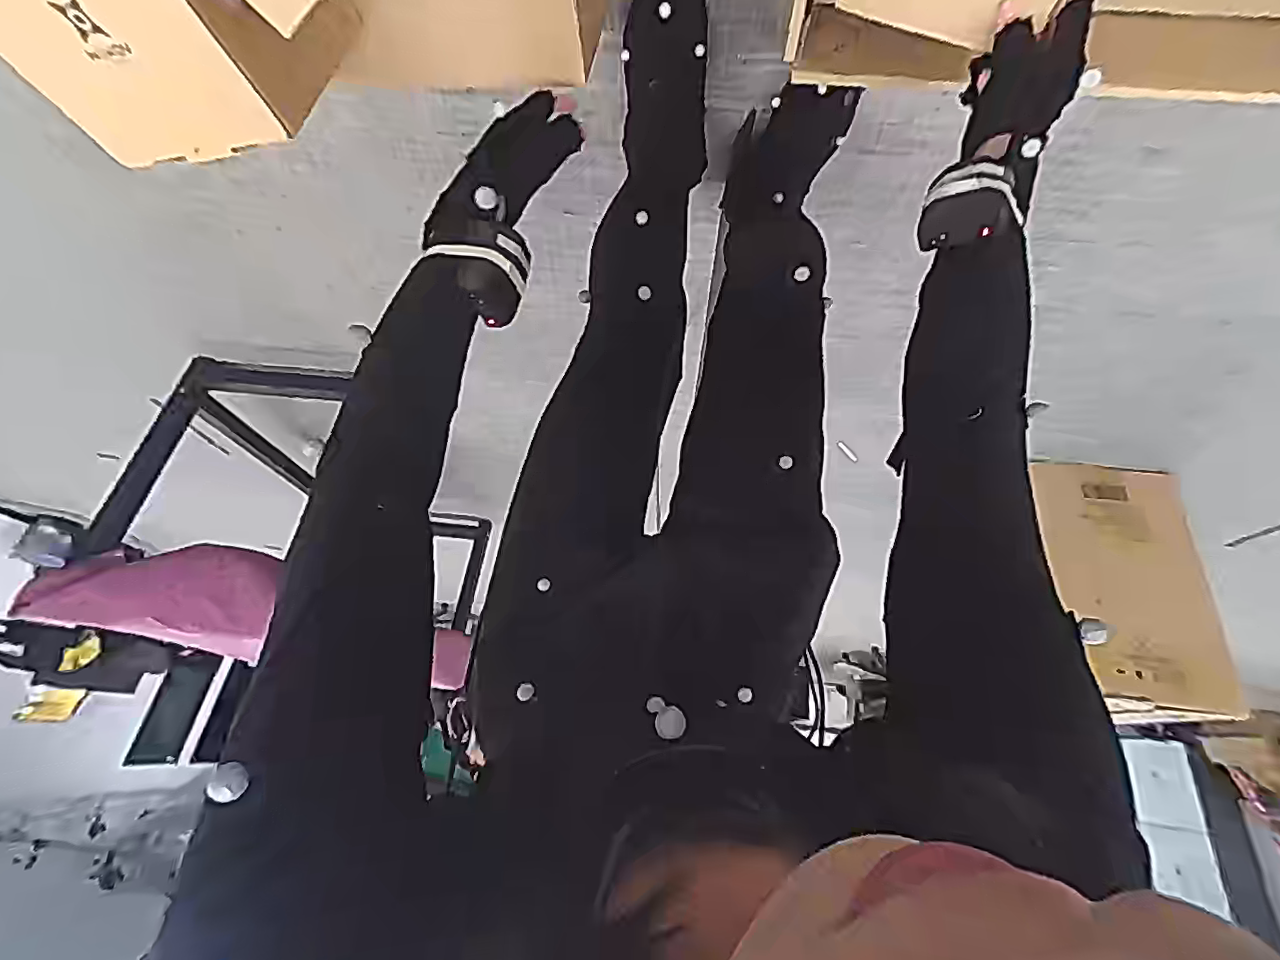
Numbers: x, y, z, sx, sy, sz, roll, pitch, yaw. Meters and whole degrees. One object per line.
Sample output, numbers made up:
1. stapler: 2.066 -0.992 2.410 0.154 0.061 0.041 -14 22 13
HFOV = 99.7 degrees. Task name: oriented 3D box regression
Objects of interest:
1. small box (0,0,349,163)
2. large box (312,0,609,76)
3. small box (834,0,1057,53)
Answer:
1. small box: -0.345 -0.363 0.375 0.168 0.176 0.179 -1 152 13
2. large box: -0.233 -0.587 0.441 0.408 0.320 0.320 4 155 7
3. small box: 0.285 -0.502 0.443 0.179 0.176 0.168 18 151 3
